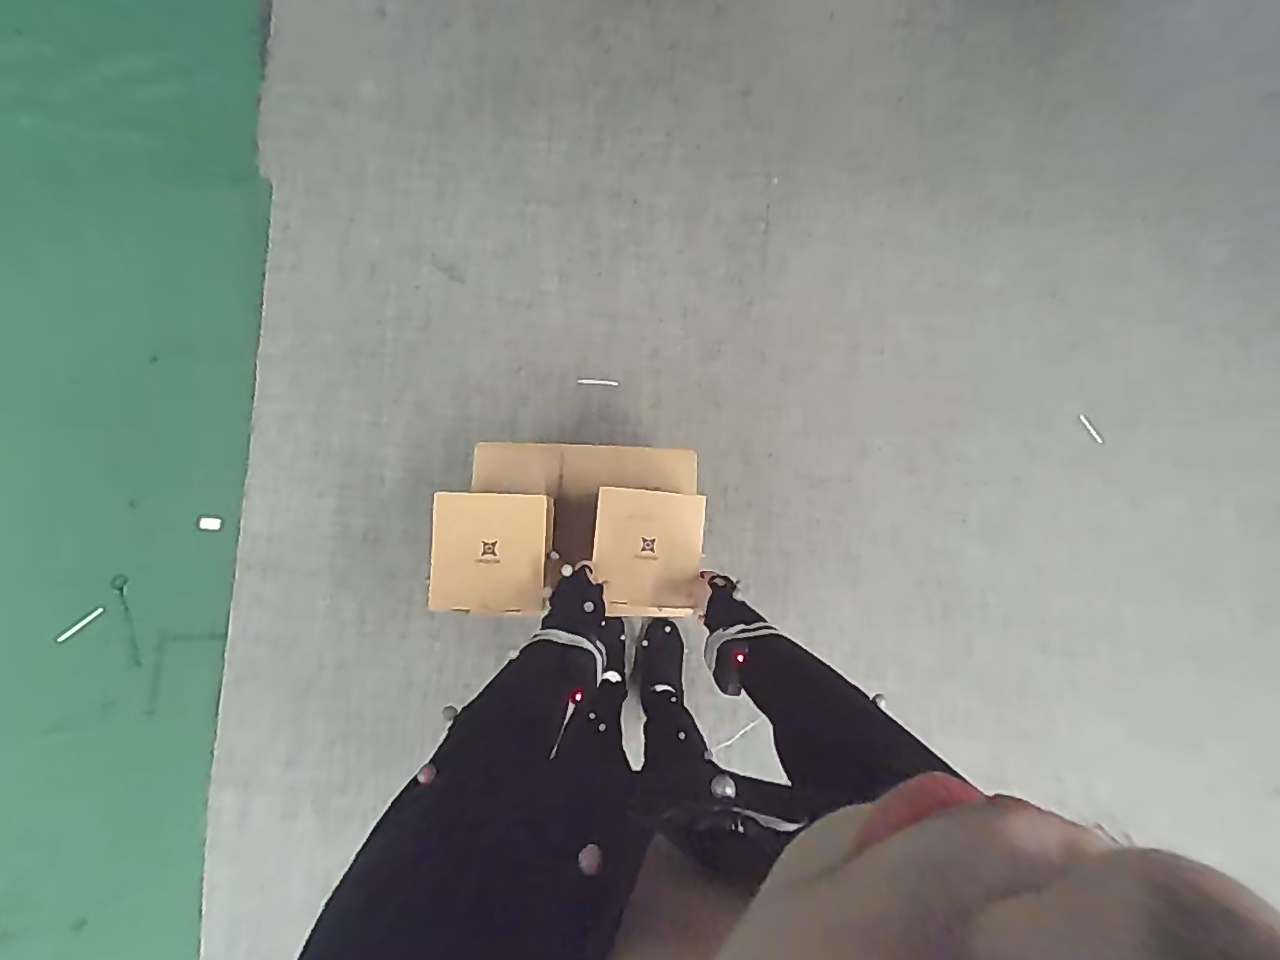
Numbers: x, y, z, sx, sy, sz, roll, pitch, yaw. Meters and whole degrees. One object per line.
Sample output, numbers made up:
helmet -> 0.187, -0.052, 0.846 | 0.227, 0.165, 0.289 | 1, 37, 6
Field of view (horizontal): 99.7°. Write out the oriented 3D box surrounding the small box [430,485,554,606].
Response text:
small box -> -0.229, 0.100, 0.875 | 0.168, 0.176, 0.179 | 2, 88, -5

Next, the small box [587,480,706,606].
small box -> 0.007, 0.100, 0.890 | 0.168, 0.176, 0.179 | 6, 85, -3
